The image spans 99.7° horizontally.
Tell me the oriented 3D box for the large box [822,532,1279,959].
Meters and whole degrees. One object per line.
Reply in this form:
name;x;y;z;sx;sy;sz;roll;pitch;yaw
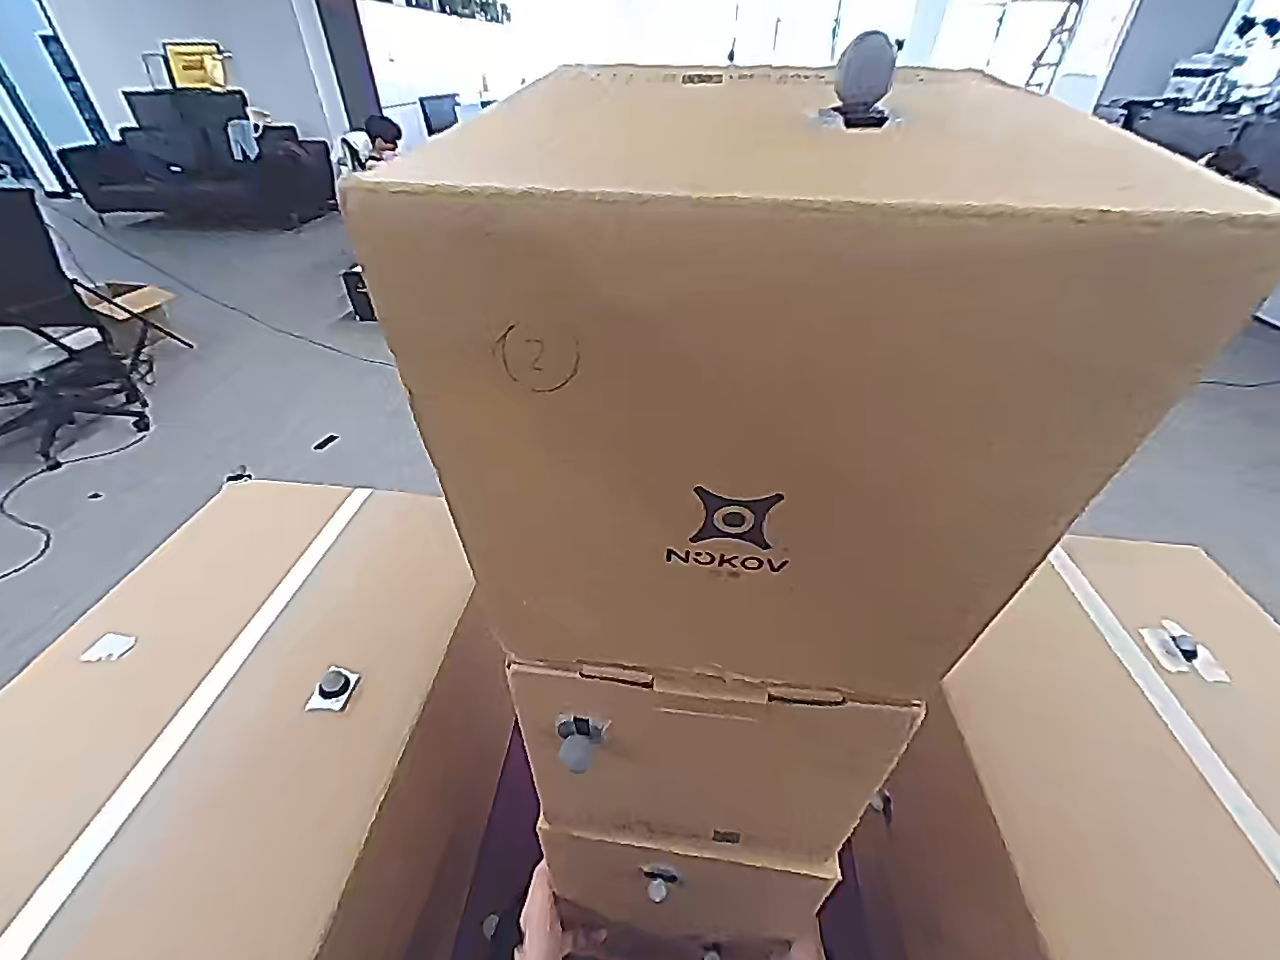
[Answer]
large box;0.382;0.298;0.486;0.320;0.320;0.408;3;36;3
